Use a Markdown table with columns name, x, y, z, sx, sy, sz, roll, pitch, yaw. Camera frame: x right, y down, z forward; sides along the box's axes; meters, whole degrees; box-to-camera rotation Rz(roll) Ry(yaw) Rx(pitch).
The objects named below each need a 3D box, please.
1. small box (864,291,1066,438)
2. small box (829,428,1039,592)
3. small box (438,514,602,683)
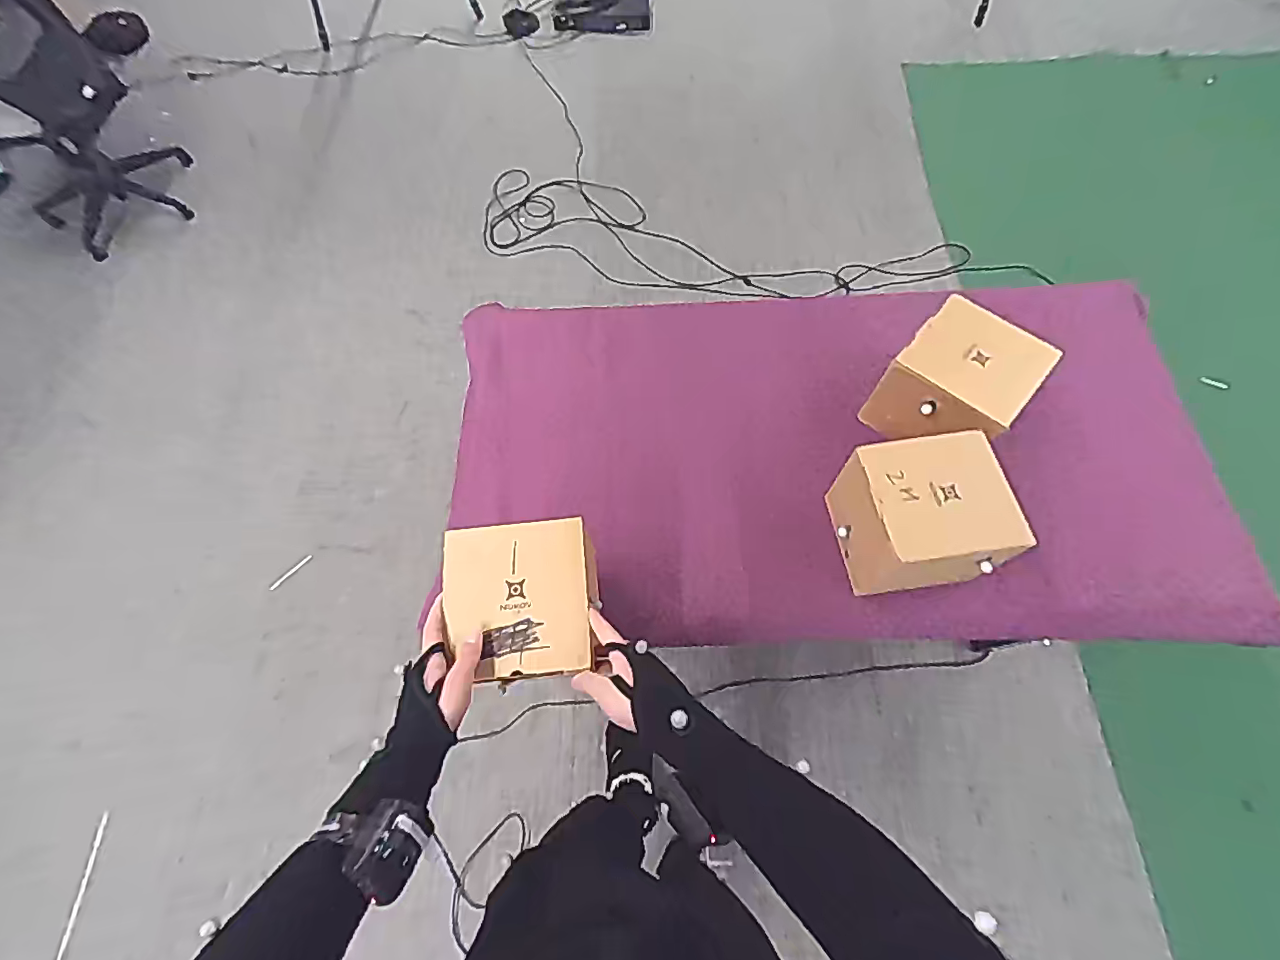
| name | x | y | z | sx | sy | sz | roll | pitch | yaw |
| --- | --- | --- | --- | --- | --- | --- | --- | --- | --- |
| small box | 0.486 | -0.146 | 0.836 | 0.179 | 0.176 | 0.168 | 39 | 74 | 19 |
| small box | 0.388 | 0.048 | 0.751 | 0.179 | 0.176 | 0.168 | -8 | 64 | 0 |
| small box | -0.141 | 0.155 | 0.683 | 0.168 | 0.176 | 0.179 | -6 | 70 | -1 |
